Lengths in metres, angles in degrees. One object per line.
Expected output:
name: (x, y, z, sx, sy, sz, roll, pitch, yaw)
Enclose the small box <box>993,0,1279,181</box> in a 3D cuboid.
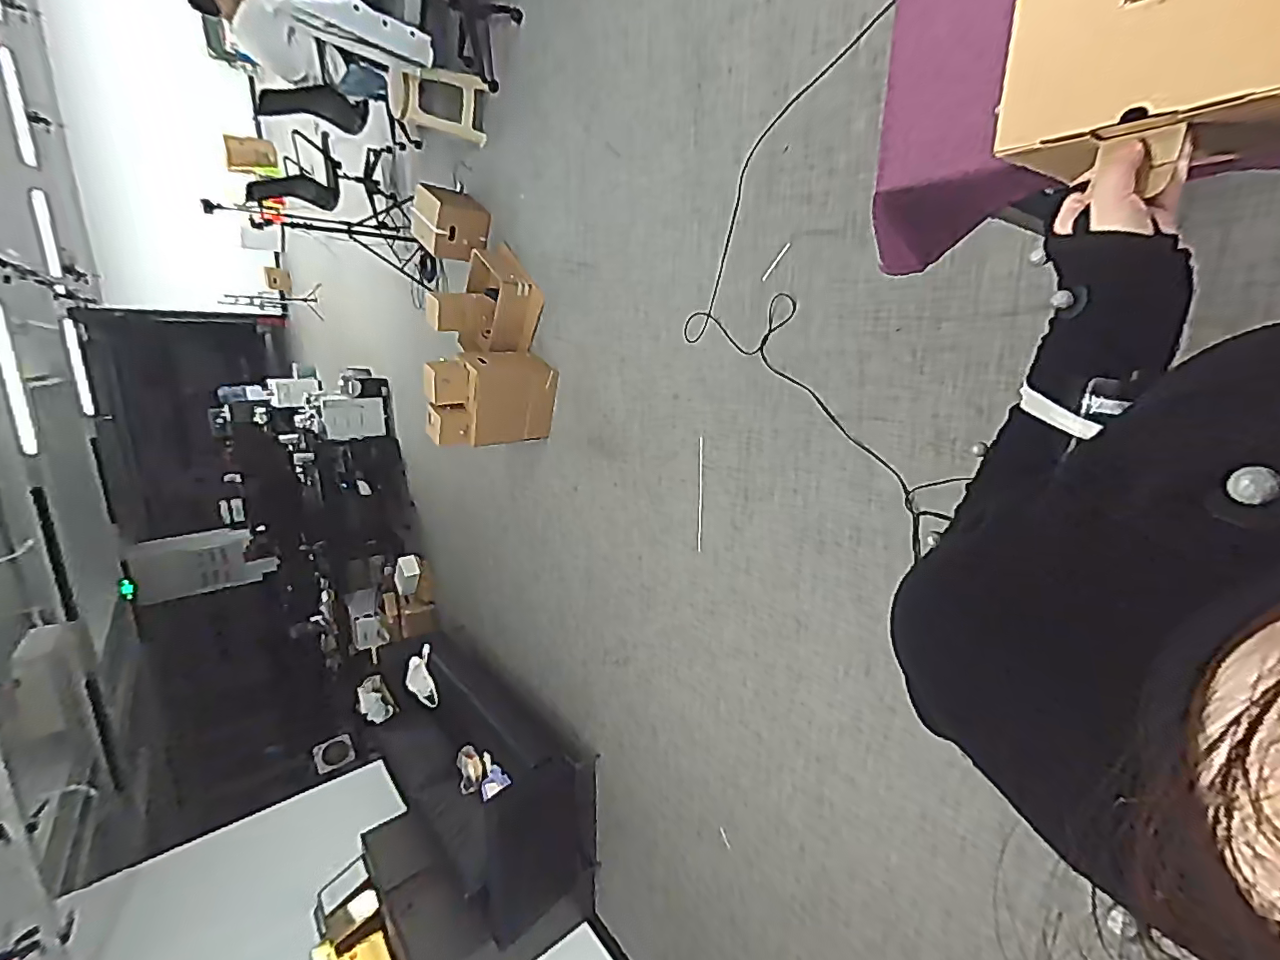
small box: (0.392, -0.337, 0.390, 0.168, 0.176, 0.179, 20, 117, 50)
